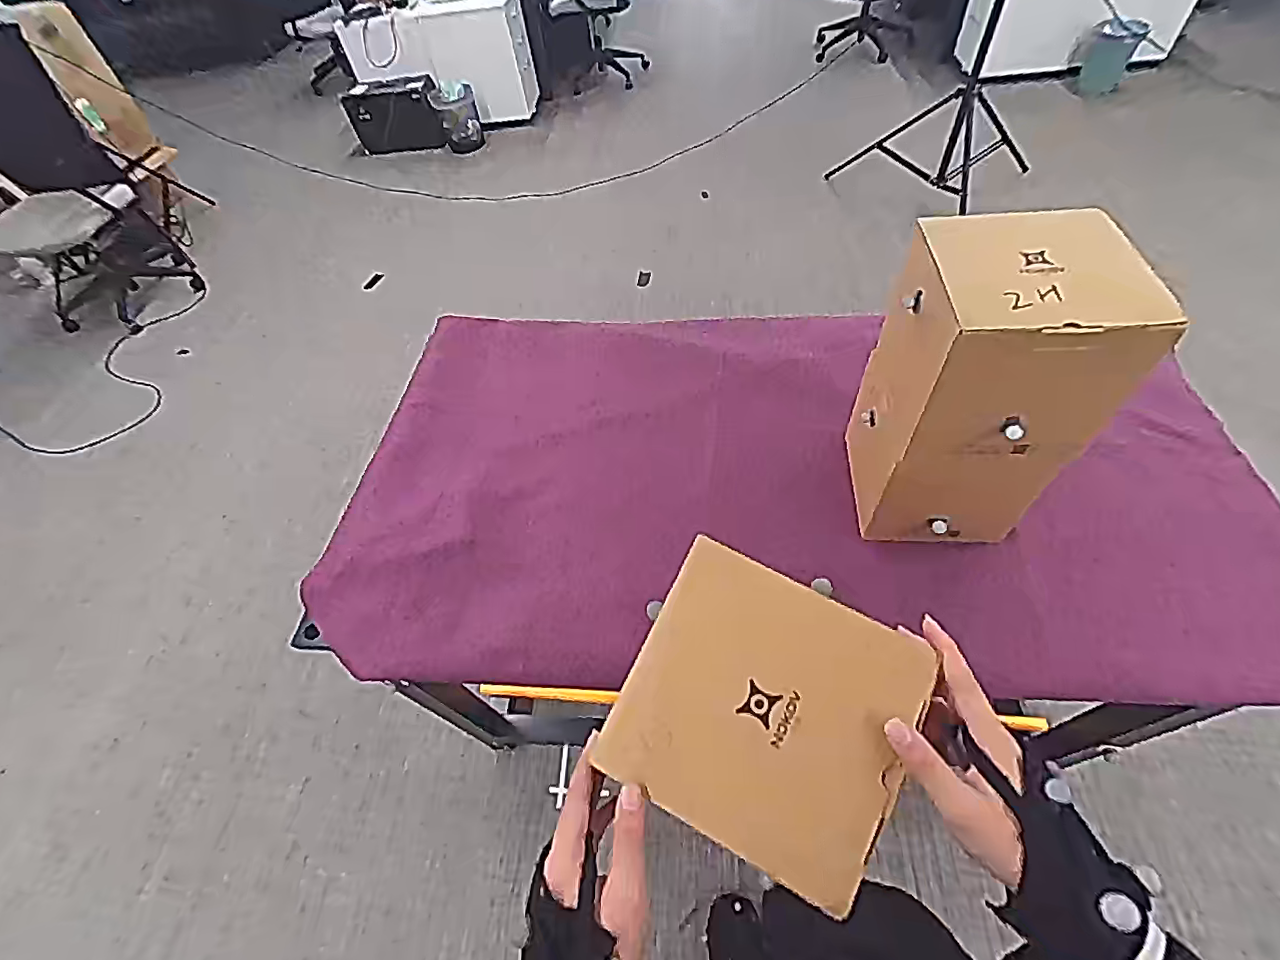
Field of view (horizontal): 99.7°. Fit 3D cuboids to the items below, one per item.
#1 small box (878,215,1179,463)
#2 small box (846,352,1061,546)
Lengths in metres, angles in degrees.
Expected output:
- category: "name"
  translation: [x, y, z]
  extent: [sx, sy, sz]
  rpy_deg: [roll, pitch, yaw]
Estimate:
- category: "small box"
  translation: [0.352, -0.137, 0.540]
  extent: [0.168, 0.176, 0.179]
  rpy_deg: [1, 54, 9]
- category: "small box"
  translation: [0.364, -0.038, 0.672]
  extent: [0.168, 0.176, 0.179]
  rpy_deg: [1, 54, 8]
